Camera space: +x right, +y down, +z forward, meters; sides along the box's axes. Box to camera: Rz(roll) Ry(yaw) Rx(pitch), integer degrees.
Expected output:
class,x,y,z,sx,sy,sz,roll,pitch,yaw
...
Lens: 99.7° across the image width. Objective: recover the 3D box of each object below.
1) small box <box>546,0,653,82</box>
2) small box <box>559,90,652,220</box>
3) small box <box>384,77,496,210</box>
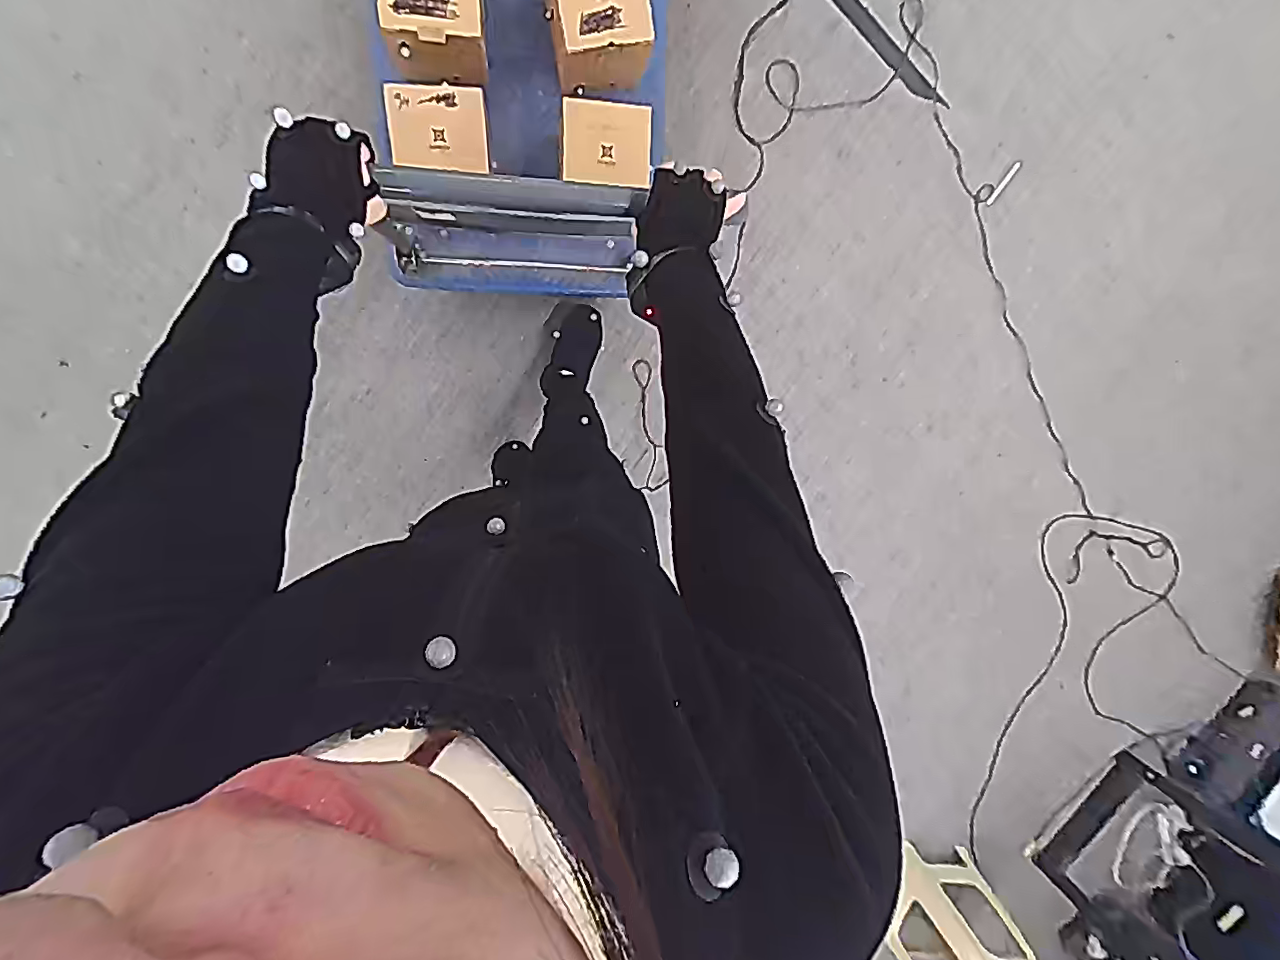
class,x,y,z,sx,sy,sz,roll,pitch,yaw
small box,-0.083,-0.887,1.022,0.168,0.176,0.179,-13,104,-8
small box,-0.075,-0.636,1.082,0.168,0.176,0.179,-1,102,-11
small box,-0.368,-0.624,1.026,0.168,0.176,0.179,-5,104,-11
